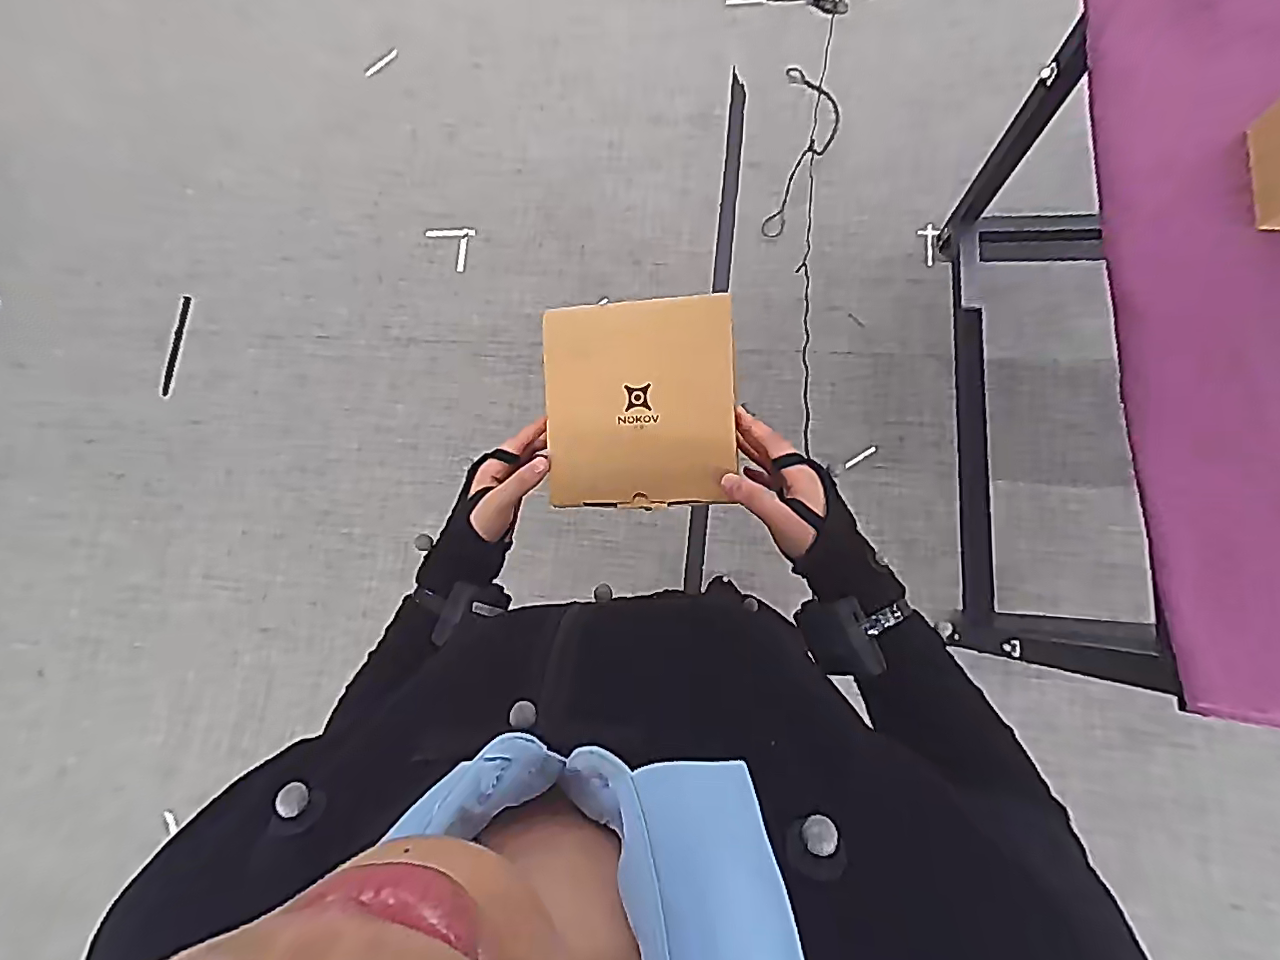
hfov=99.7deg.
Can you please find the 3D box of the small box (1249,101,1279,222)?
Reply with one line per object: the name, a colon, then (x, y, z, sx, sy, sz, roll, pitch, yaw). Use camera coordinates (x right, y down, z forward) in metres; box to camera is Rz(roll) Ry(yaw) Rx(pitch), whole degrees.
small box: (0.970, -0.454, 0.706, 0.168, 0.176, 0.179, 5, 80, 7)
